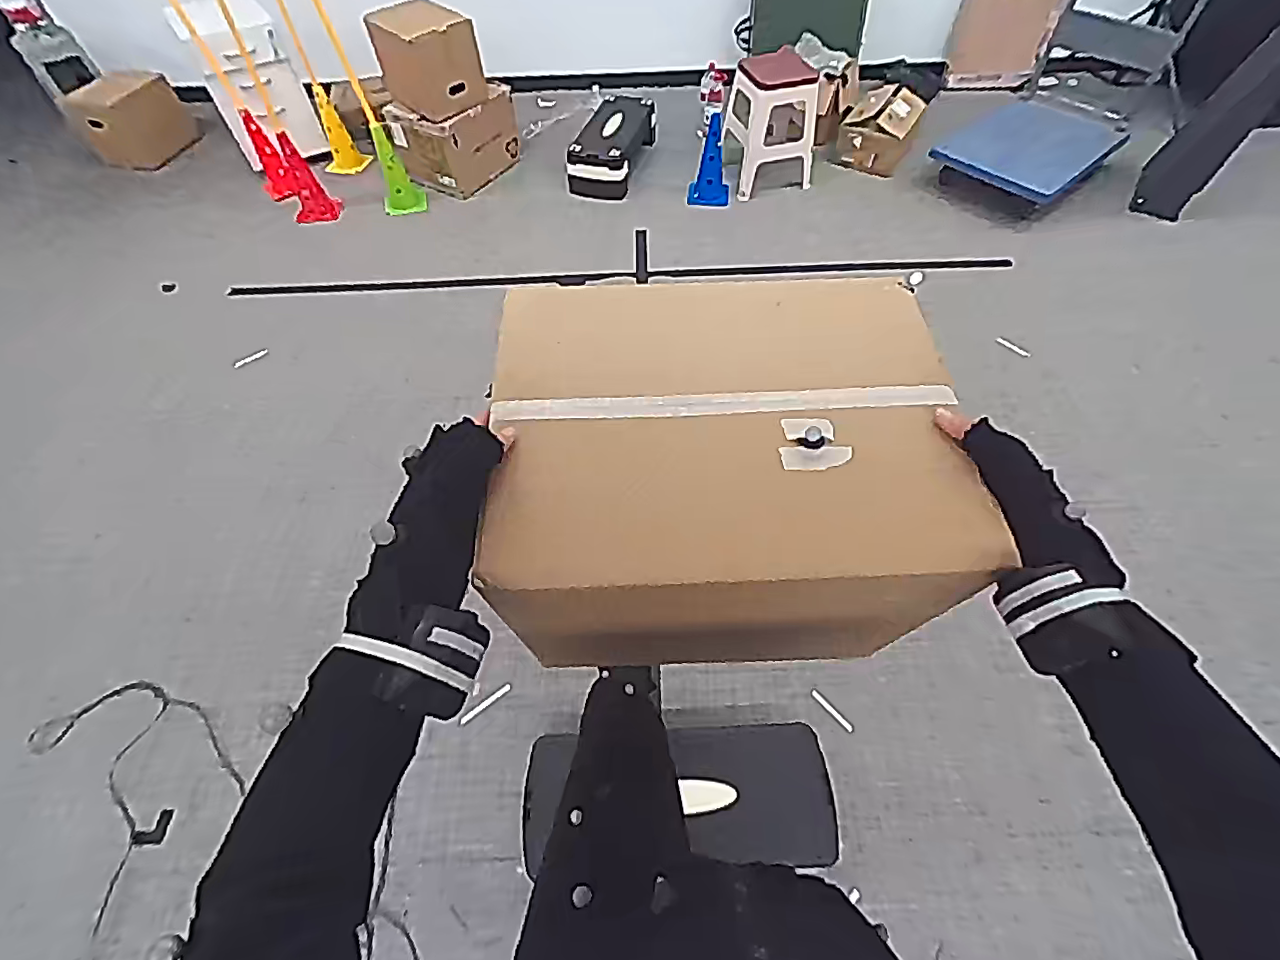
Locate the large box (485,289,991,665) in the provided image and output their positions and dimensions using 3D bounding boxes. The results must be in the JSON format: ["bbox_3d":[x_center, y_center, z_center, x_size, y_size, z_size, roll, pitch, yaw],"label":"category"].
[{"bbox_3d":[0.070,0.014,0.618,0.408,0.320,0.320,-2,61,-1],"label":"large box"}]
